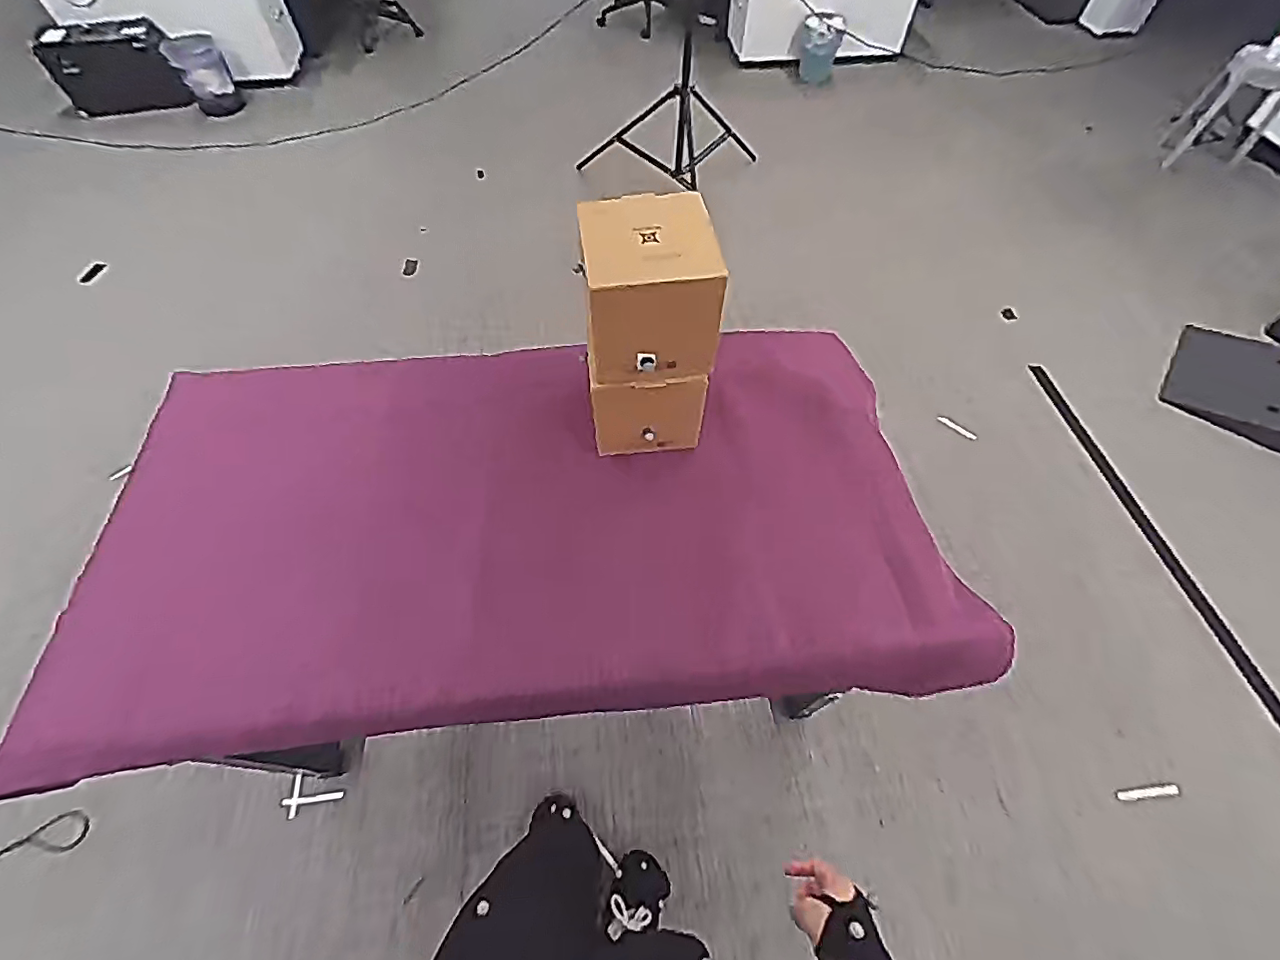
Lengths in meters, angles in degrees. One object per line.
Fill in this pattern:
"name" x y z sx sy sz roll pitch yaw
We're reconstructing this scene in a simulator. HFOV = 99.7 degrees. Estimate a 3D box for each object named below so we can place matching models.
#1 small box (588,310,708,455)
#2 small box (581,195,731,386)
"small box" 0.005 -0.162 0.866 0.168 0.176 0.179 -5 59 -3
"small box" 0.013 -0.252 0.732 0.168 0.176 0.179 -8 59 -4
